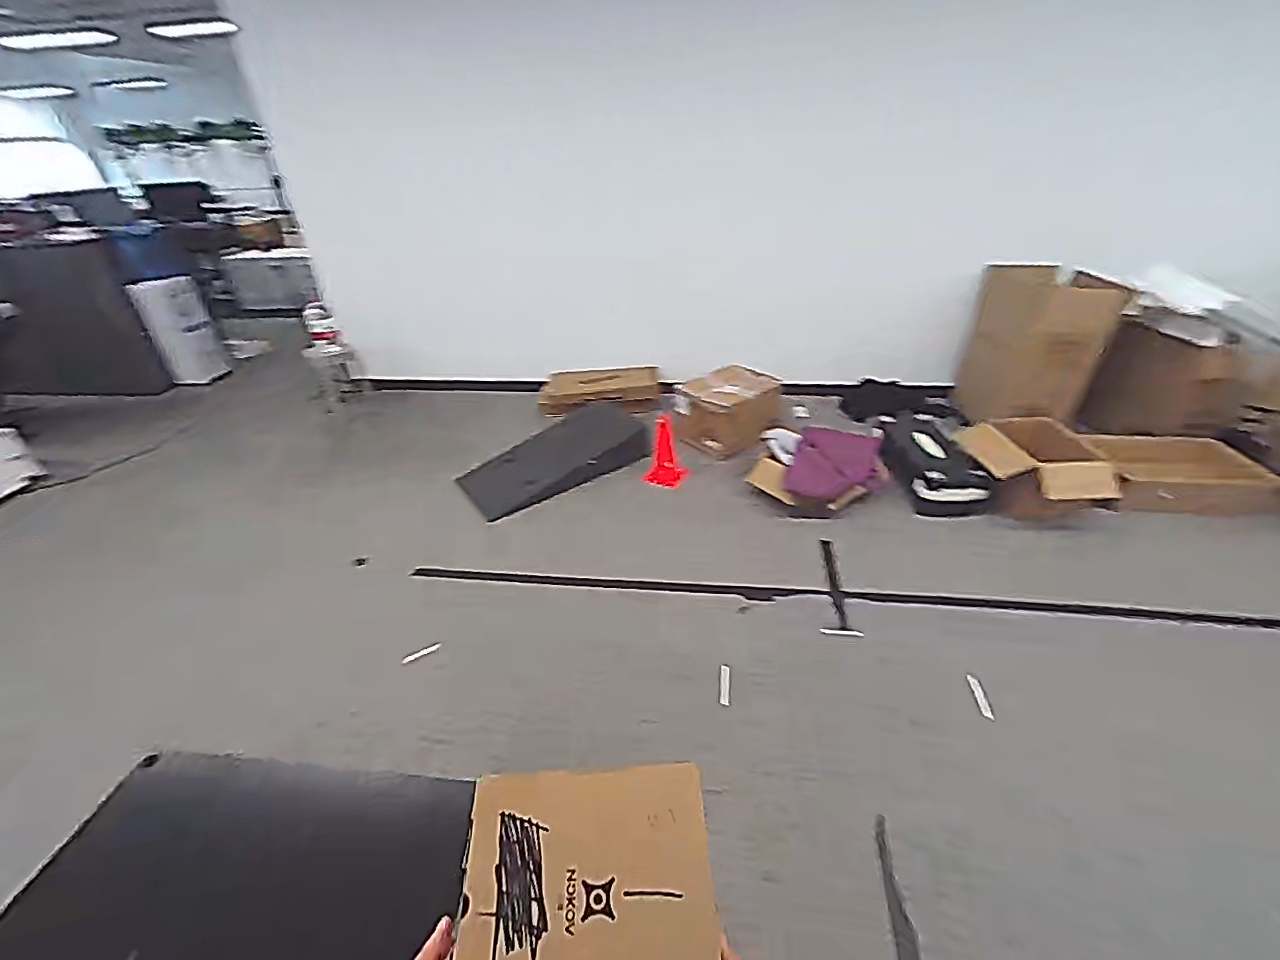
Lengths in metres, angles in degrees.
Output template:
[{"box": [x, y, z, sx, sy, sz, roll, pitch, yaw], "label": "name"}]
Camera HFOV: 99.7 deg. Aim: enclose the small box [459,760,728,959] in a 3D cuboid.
[{"box": [-0.028, 0.339, 0.423, 0.179, 0.176, 0.168, -3, 44, 0], "label": "small box"}]
